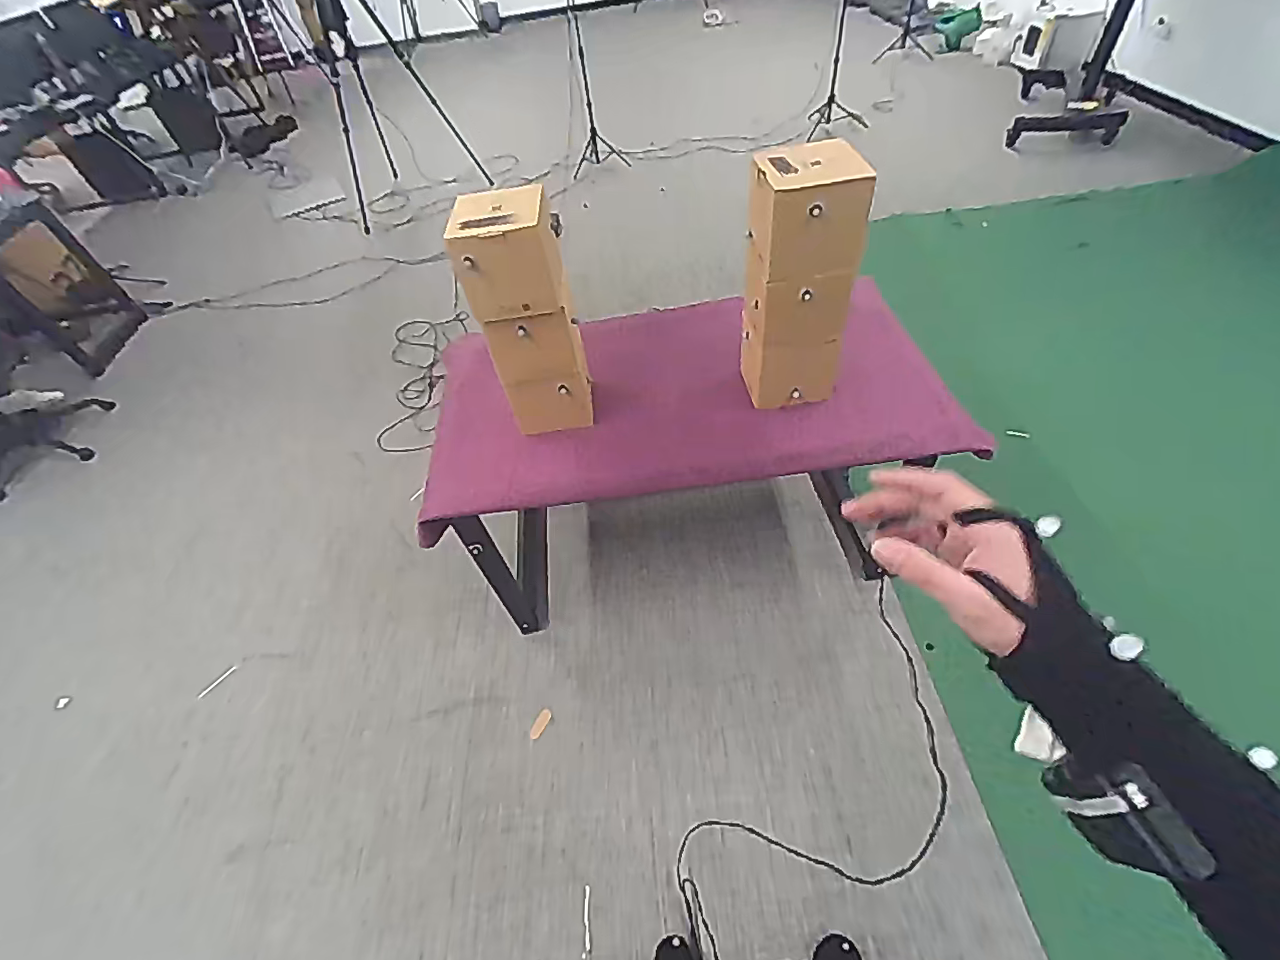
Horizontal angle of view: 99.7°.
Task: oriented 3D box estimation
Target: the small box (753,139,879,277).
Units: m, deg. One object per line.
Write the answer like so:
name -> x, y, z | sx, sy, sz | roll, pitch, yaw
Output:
small box -> 0.312, -0.498, 1.002 | 0.179, 0.176, 0.168 | -9, 51, 1

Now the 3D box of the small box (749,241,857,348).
small box -> 0.328, -0.393, 1.127 | 0.179, 0.176, 0.168 | -8, 51, 2

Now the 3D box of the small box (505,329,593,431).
small box -> -0.207, -0.235, 1.285 | 0.179, 0.176, 0.168 | -7, 50, 1

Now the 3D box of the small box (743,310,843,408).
small box -> 0.345, -0.289, 1.252 | 0.179, 0.176, 0.168 | -9, 50, 1

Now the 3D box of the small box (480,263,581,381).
small box -> -0.223, -0.335, 1.158 | 0.179, 0.176, 0.168 | -8, 51, 2
